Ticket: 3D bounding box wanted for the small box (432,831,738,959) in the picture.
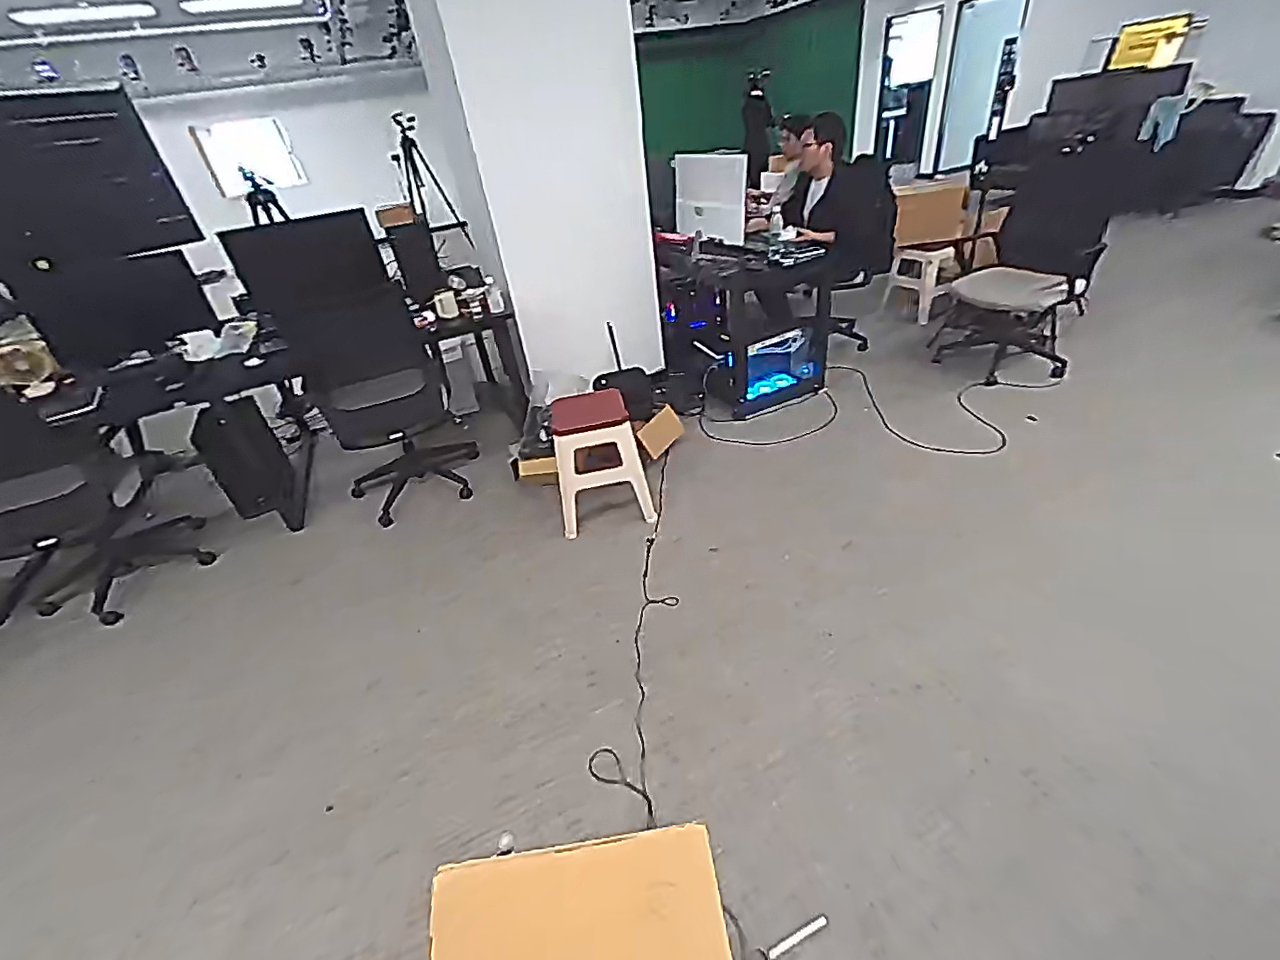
[{"bbox_3d":[-0.025,0.343,0.357,0.179,0.176,0.168,-9,54,-2],"label":"small box"}]
